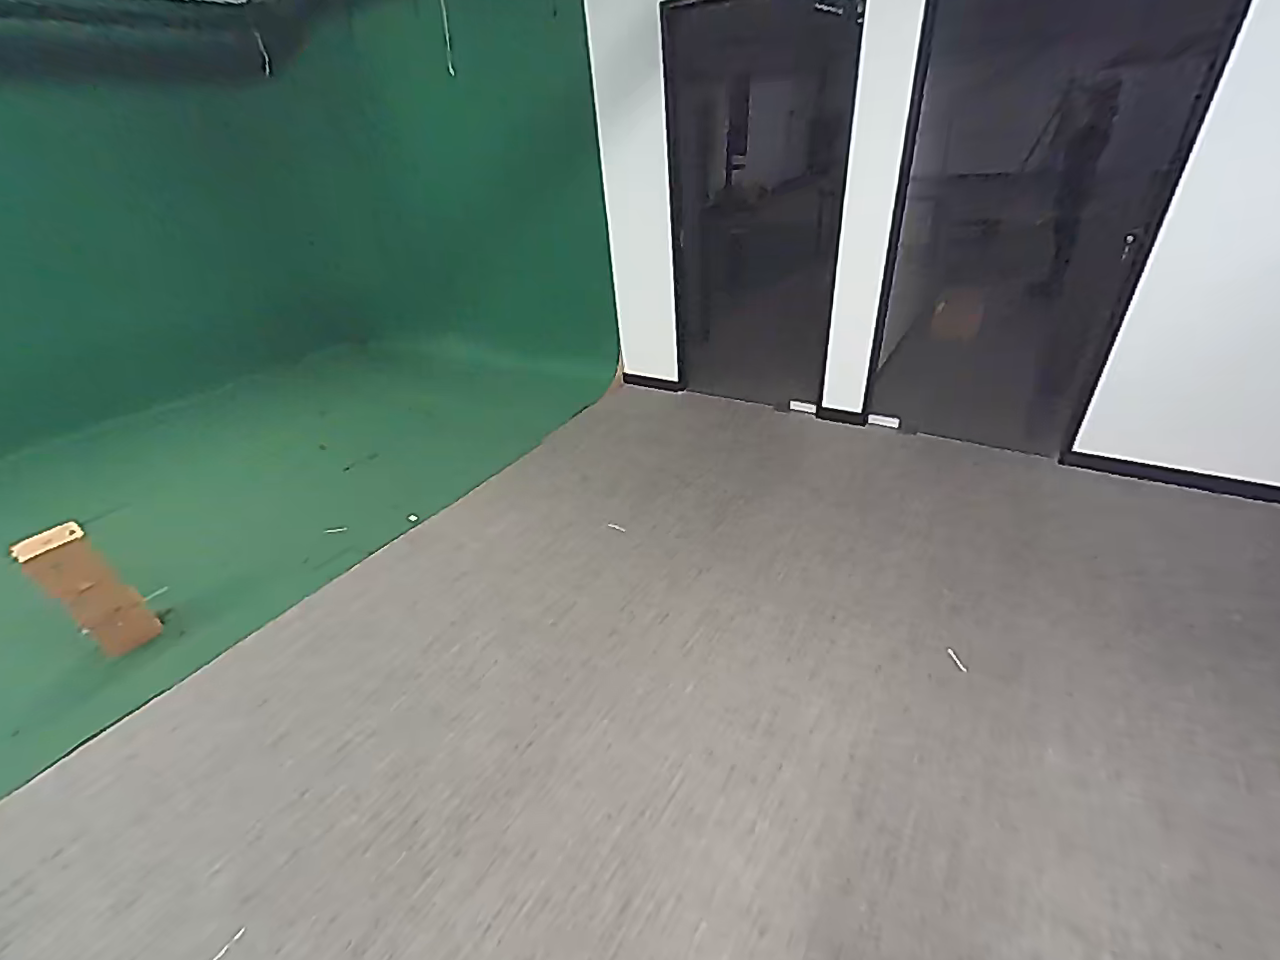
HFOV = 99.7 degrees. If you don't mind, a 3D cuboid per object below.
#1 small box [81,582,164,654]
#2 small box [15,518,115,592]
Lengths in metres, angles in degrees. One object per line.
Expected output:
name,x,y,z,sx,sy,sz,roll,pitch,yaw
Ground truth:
small box,-2.019,0.540,2.120,0.168,0.176,0.179,20,41,33
small box,-2.052,0.271,1.934,0.168,0.176,0.179,19,41,32
